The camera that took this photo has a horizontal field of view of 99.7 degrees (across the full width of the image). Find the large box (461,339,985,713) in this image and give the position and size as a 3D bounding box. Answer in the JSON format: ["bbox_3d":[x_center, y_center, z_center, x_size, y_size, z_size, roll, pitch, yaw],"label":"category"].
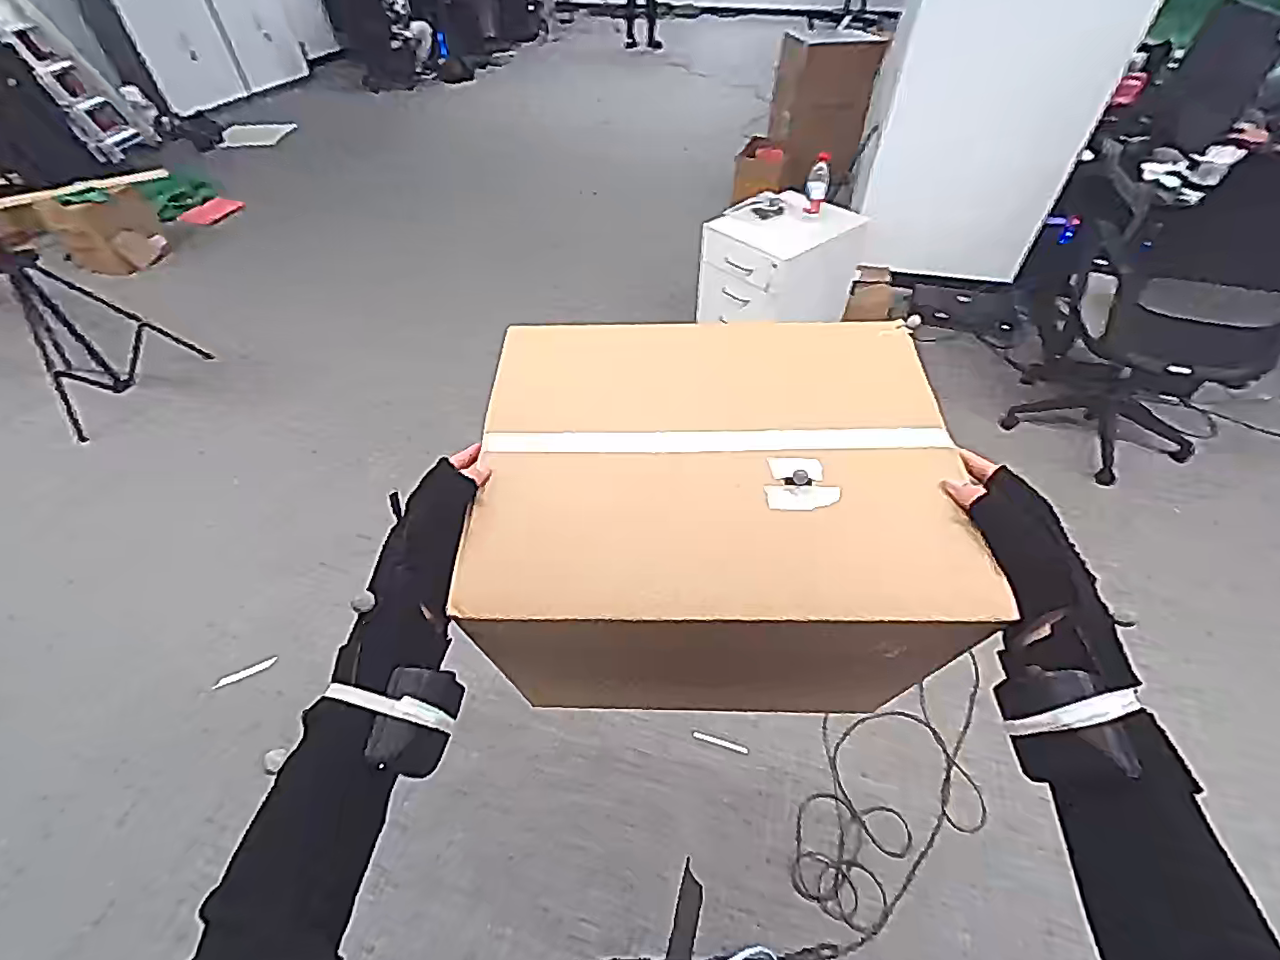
[{"bbox_3d":[0.062,0.065,0.609,0.408,0.320,0.320,-1,57,1],"label":"large box"}]
